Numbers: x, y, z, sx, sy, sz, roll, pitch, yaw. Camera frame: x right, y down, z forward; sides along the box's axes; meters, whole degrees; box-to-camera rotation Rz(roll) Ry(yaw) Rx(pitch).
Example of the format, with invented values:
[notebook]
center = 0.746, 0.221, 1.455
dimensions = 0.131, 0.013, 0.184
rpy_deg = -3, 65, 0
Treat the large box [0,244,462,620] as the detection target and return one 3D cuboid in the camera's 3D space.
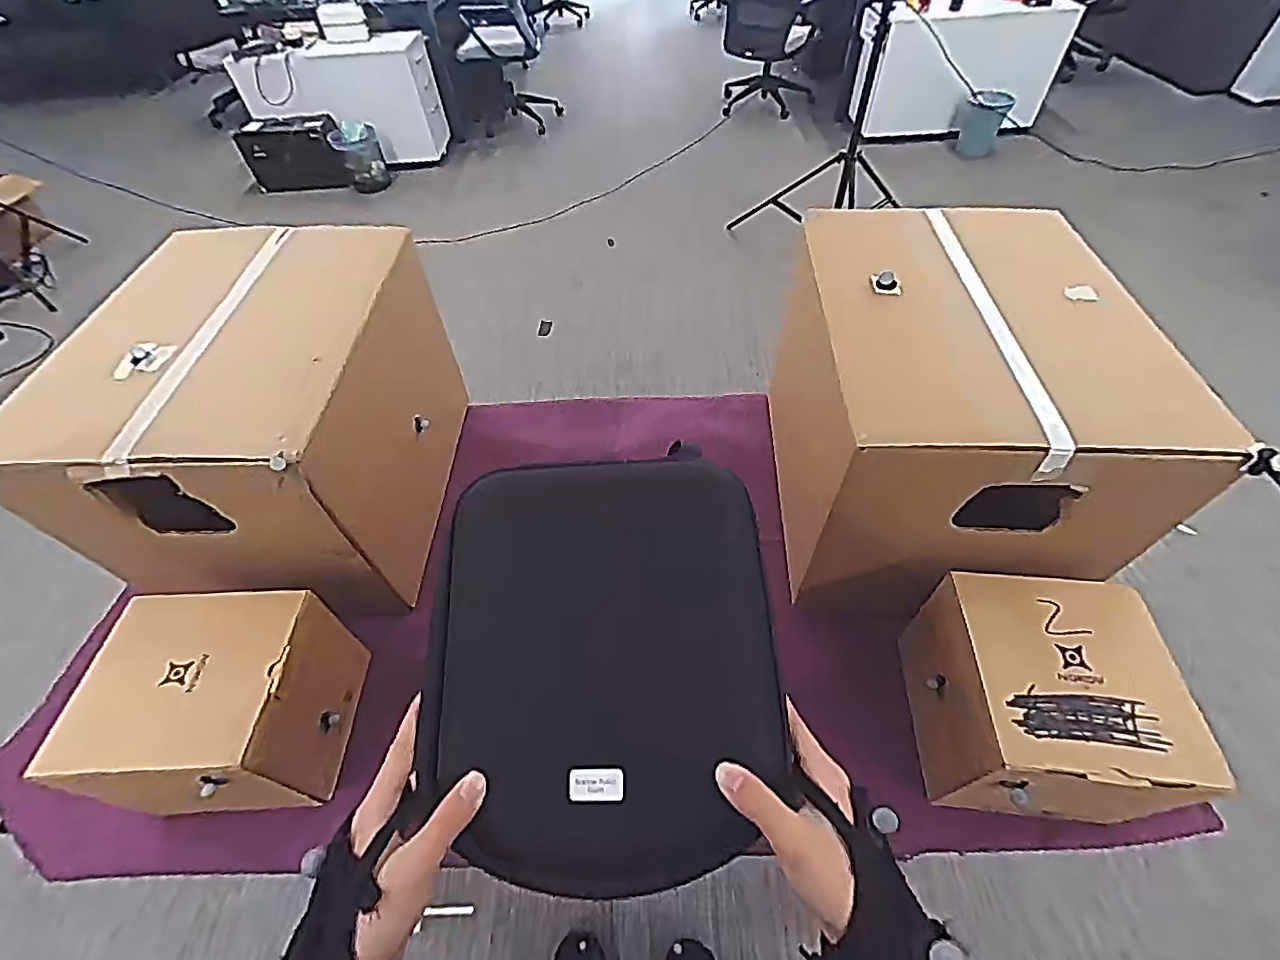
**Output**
[large box]
center = -0.453, -0.063, 0.719
dimensions = 0.320, 0.320, 0.408
rpy_deg = -2, 53, 0
